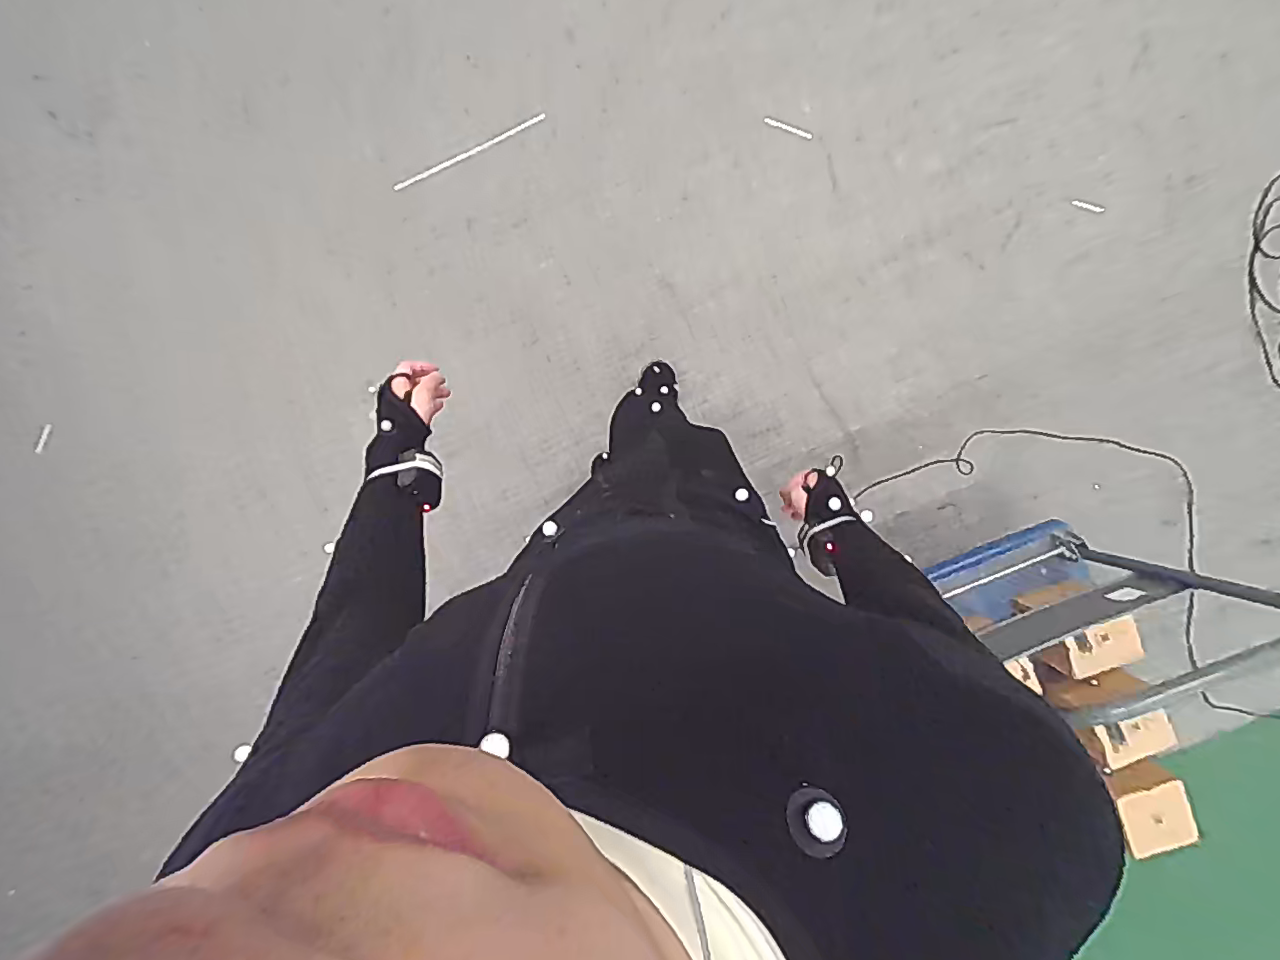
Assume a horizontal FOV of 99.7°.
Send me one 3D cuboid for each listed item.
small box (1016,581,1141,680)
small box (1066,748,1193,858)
[{"bbox_3d":[1.114,0.380,1.393,0.179,0.176,0.168,-20,95,2],"label":"small box"},{"bbox_3d":[1.286,0.844,1.435,0.168,0.176,0.179,-19,94,3],"label":"small box"}]
